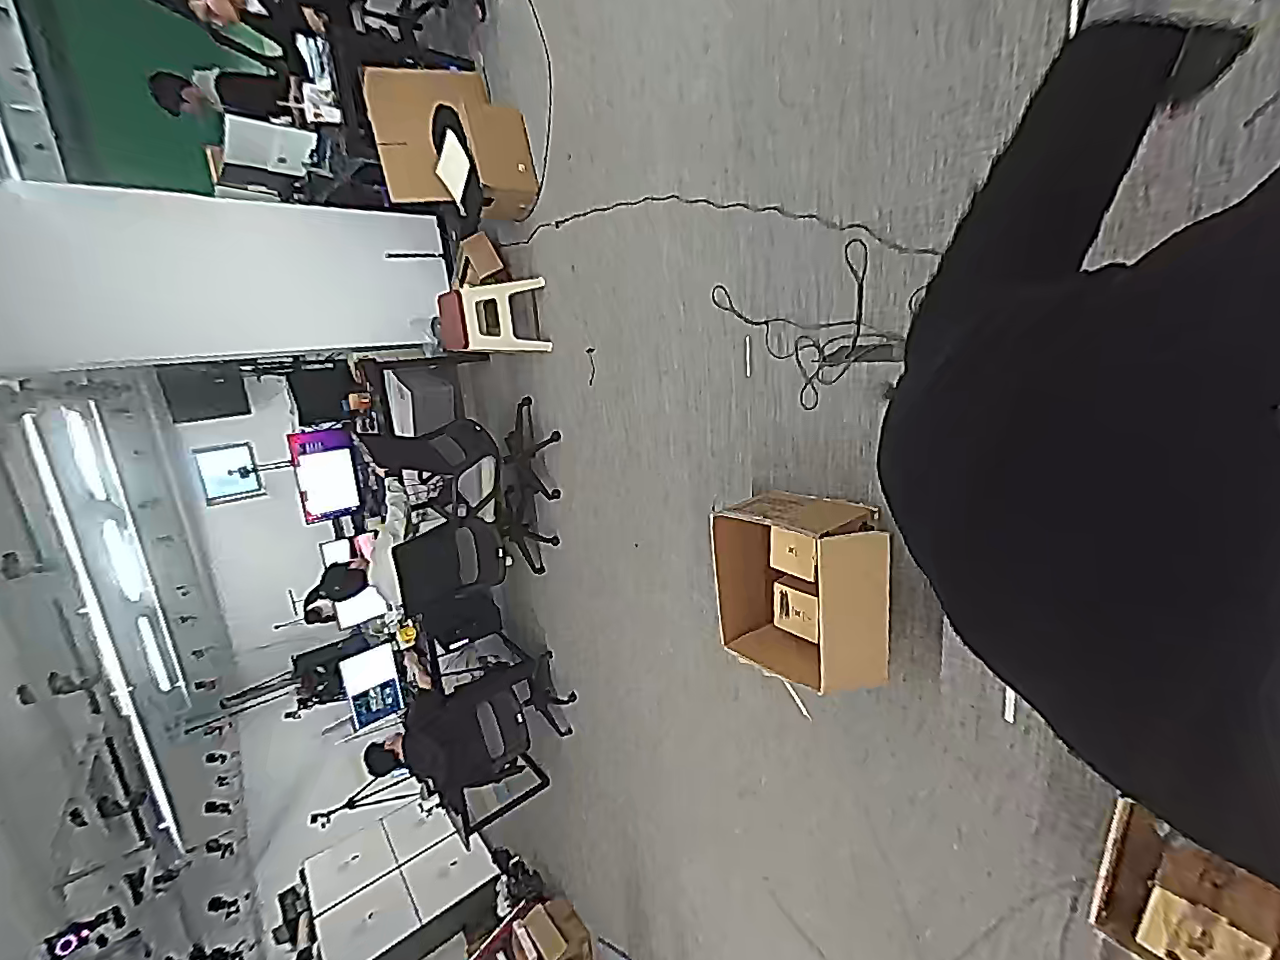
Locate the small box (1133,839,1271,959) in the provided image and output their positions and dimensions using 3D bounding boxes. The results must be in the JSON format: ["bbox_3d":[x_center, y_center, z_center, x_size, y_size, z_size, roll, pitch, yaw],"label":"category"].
[{"bbox_3d":[1.180,0.913,1.137,0.168,0.176,0.179,19,115,48],"label":"small box"}]
